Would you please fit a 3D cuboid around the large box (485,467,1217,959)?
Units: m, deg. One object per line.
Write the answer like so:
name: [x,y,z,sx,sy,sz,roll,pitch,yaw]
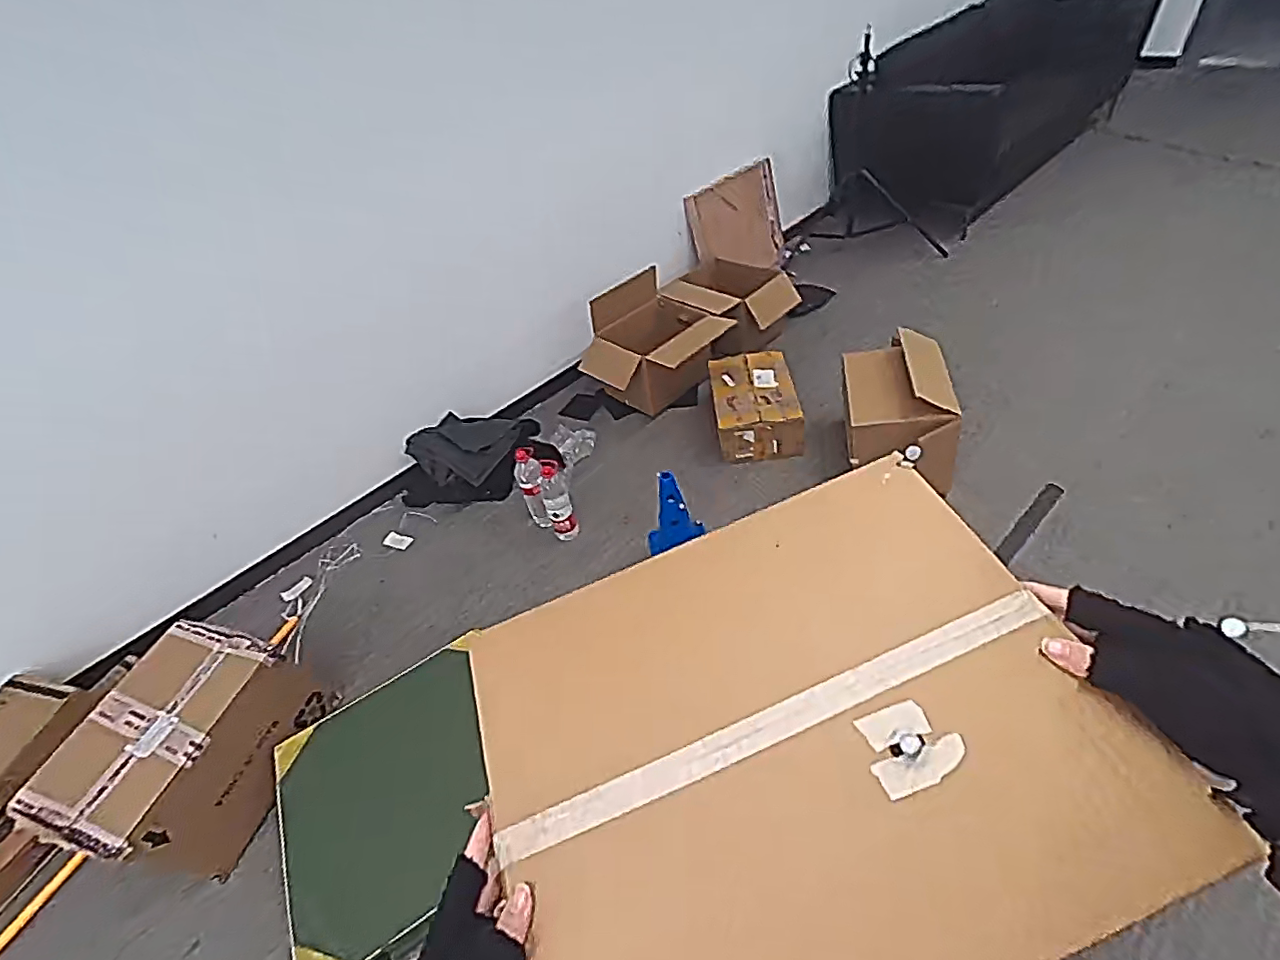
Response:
large box: [0.126,0.260,0.501,0.408,0.320,0.320,-23,53,-4]
